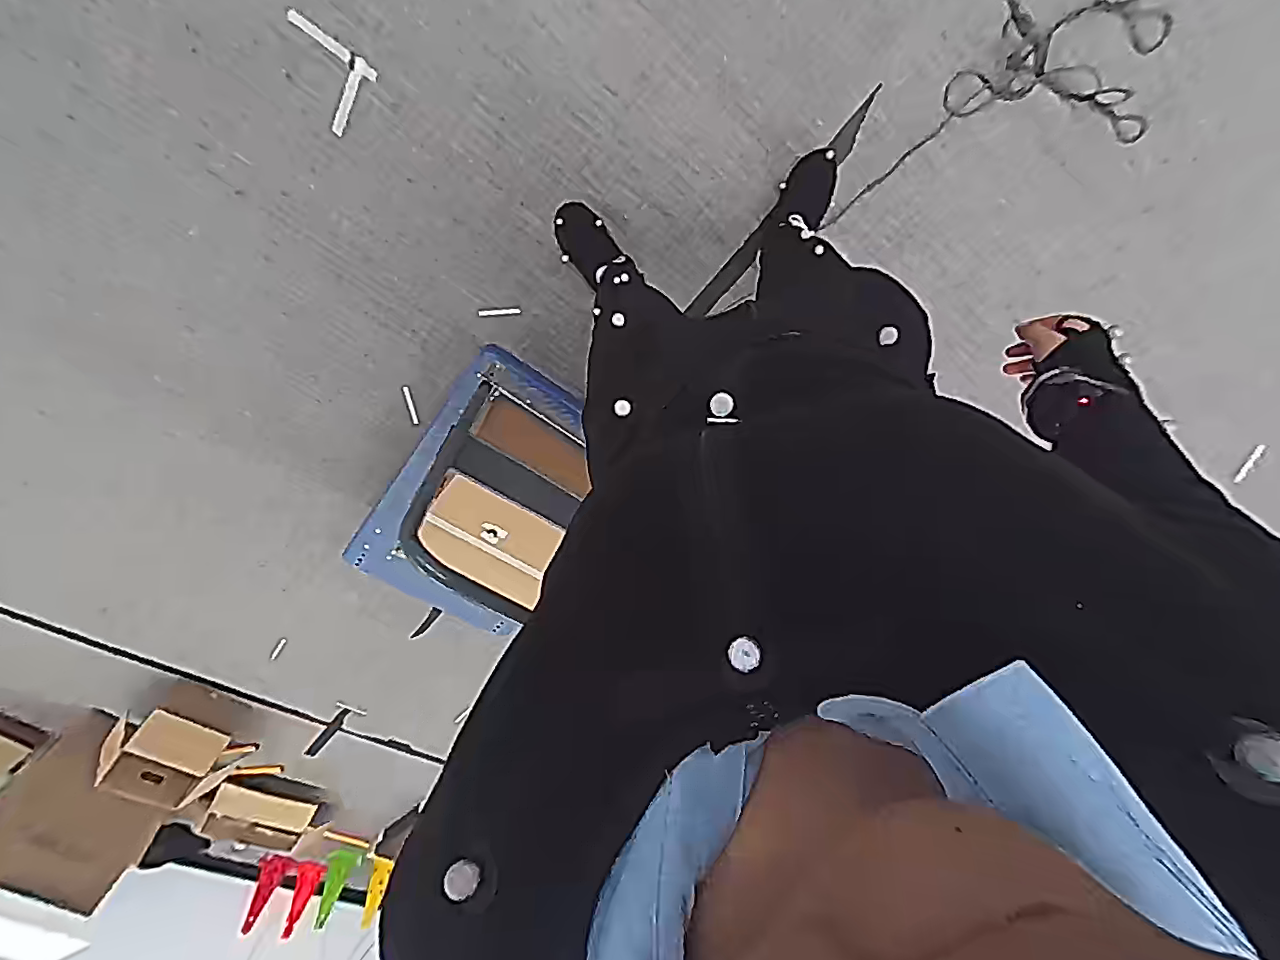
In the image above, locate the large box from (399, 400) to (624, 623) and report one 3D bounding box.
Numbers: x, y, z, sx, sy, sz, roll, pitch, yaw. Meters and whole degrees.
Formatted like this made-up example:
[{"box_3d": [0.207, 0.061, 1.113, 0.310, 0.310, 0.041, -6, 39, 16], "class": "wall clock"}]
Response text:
[{"box_3d": [-0.292, 0.079, 1.340, 0.408, 0.320, 0.320, 35, 118, -20], "class": "large box"}]
